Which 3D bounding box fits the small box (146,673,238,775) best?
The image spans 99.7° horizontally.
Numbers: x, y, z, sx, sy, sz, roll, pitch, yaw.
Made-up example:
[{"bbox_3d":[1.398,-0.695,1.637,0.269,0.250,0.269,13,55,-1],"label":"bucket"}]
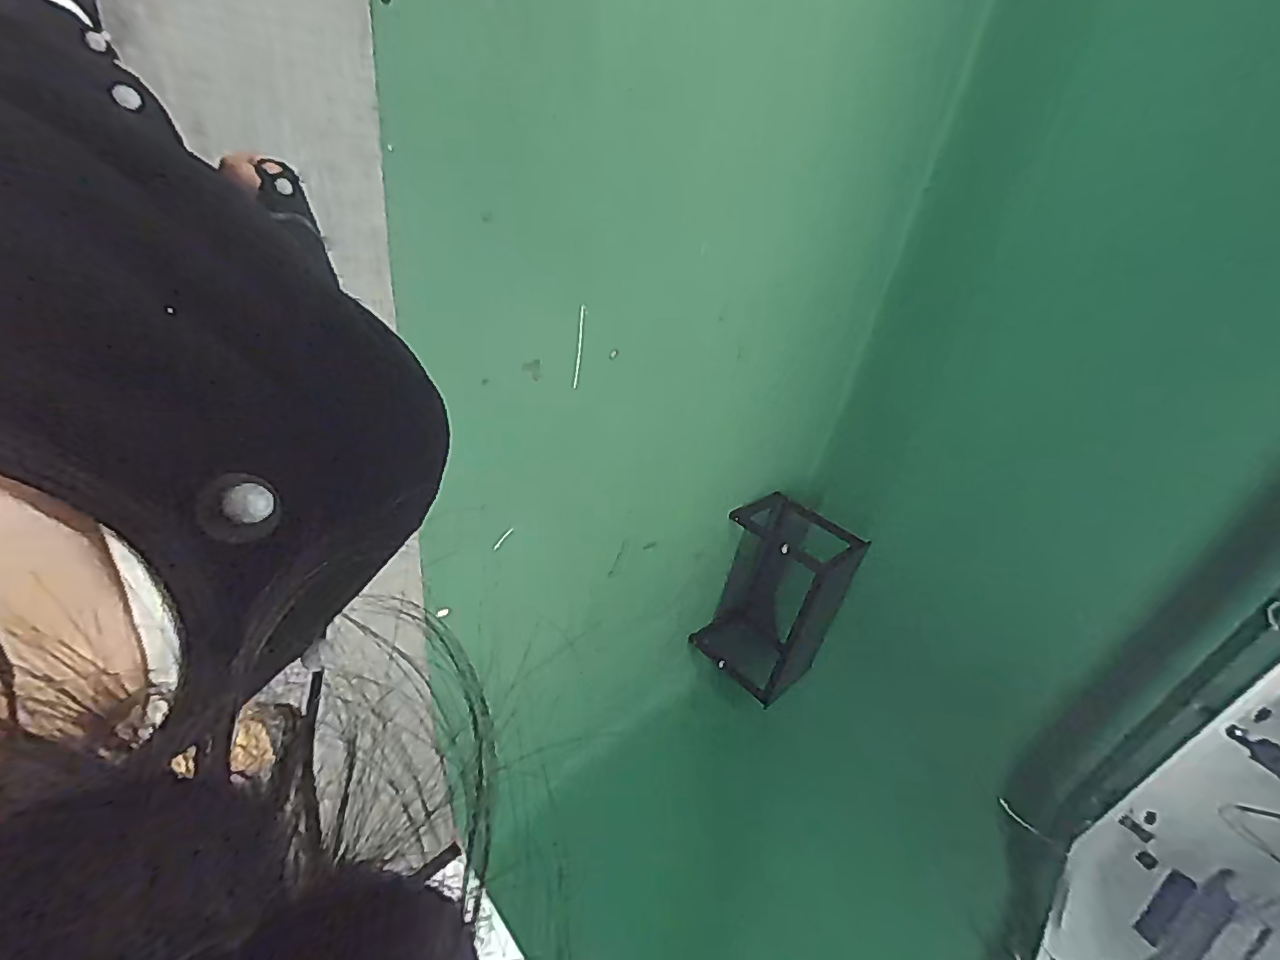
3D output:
[{"bbox_3d":[-1.274,0.681,1.538,0.168,0.176,0.179,-15,129,-43],"label":"small box"}]
